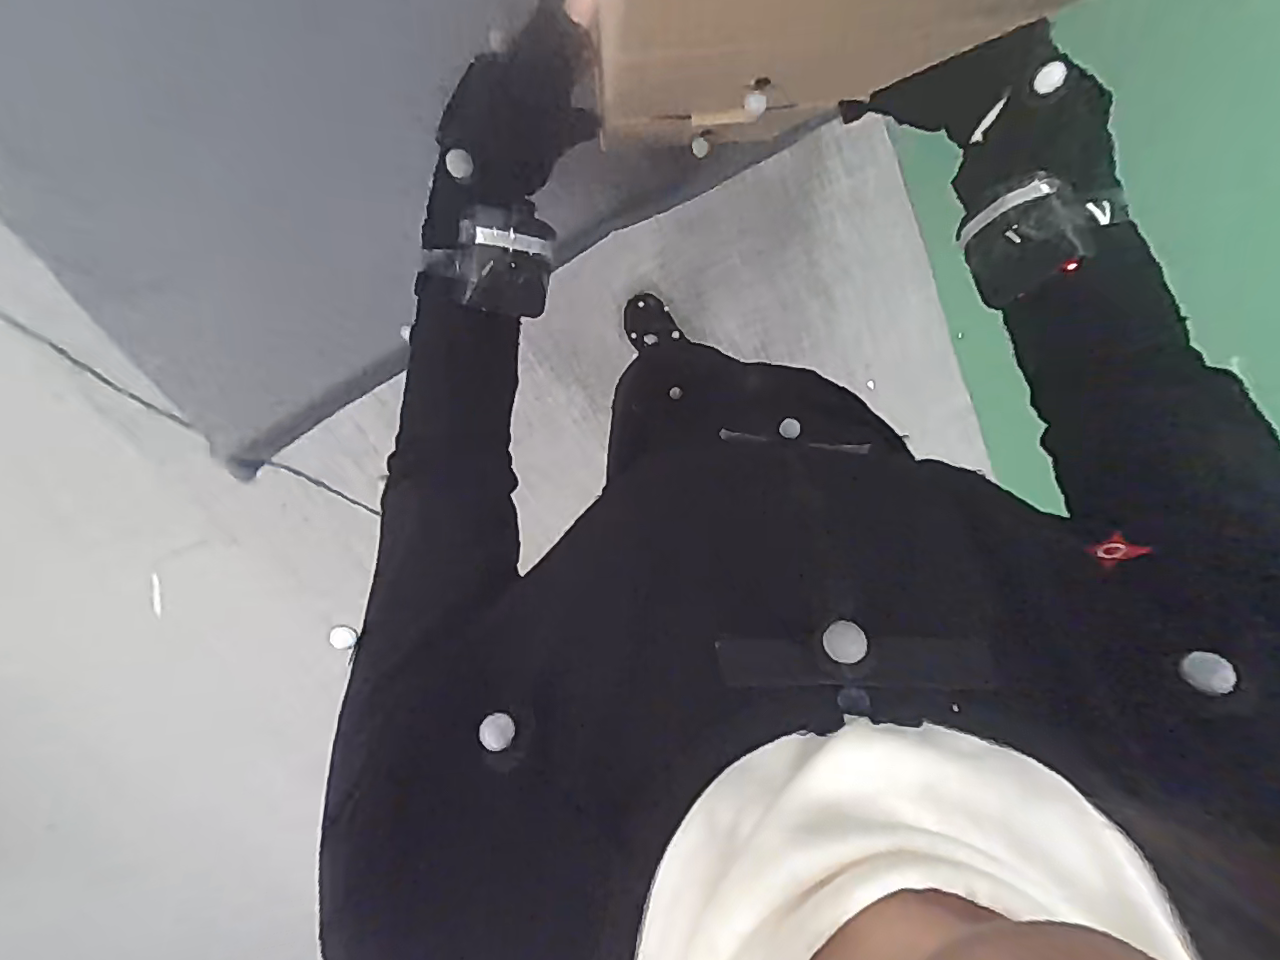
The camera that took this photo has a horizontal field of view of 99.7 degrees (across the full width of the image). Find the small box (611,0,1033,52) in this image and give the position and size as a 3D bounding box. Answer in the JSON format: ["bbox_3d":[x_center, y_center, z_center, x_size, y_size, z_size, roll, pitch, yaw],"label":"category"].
[{"bbox_3d":[0.072,-0.215,0.113,0.179,0.176,0.168,-6,117,-1],"label":"small box"}]

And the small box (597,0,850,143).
[{"bbox_3d":[0.051,-0.362,0.404,0.168,0.176,0.179,-5,117,0],"label":"small box"}]
